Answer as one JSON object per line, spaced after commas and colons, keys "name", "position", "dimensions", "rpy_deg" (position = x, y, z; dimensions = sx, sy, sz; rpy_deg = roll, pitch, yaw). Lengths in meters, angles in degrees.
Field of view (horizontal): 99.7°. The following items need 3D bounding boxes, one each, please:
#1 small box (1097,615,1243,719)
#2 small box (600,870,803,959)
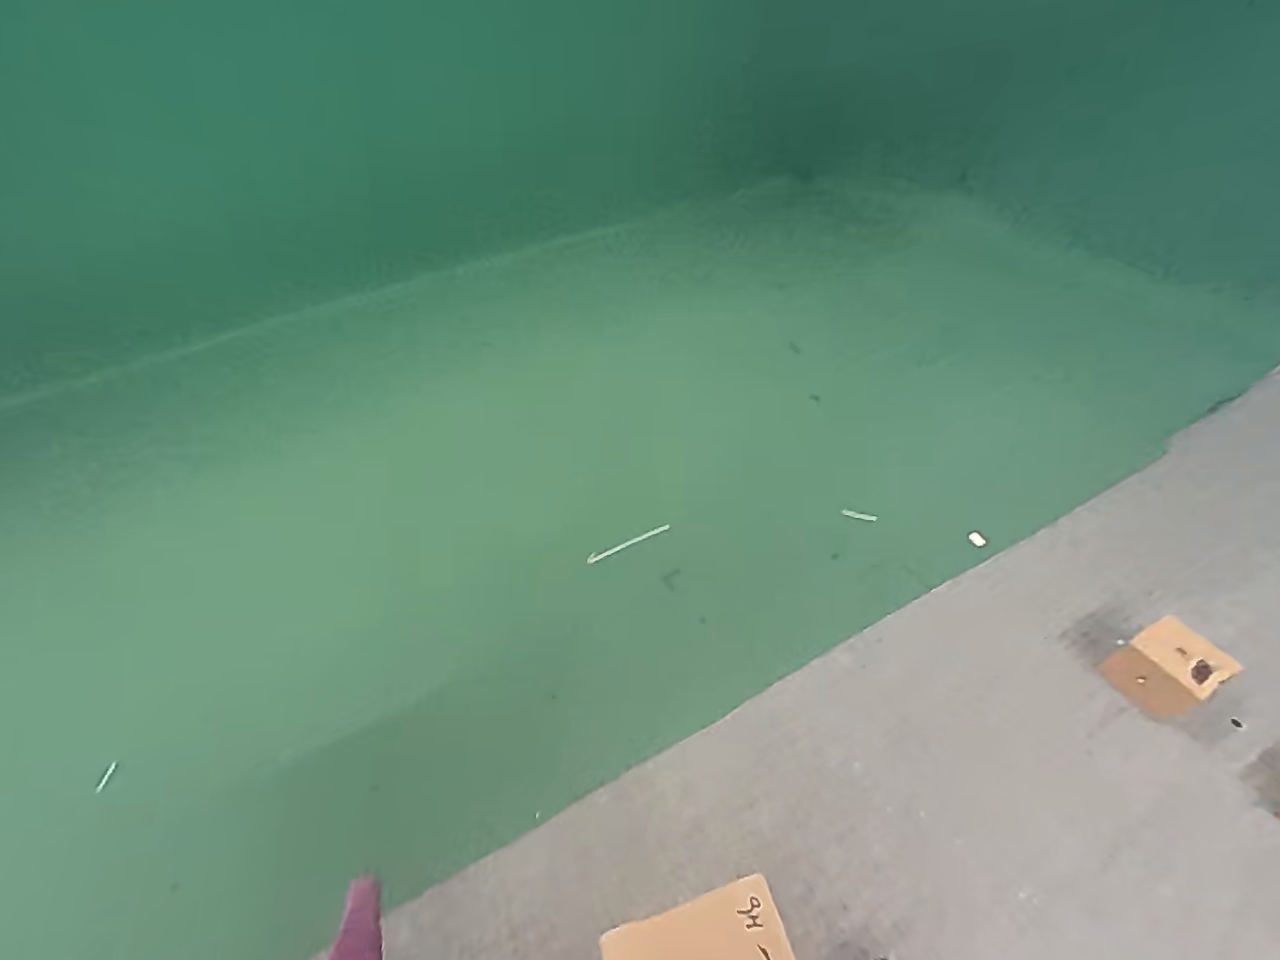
{"name": "small box", "position": [1.357, 0.491, 1.399], "dimensions": [0.168, 0.176, 0.179], "rpy_deg": [-23, 48, -16]}
{"name": "small box", "position": [0.067, 0.514, 0.519], "dimensions": [0.179, 0.176, 0.168], "rpy_deg": [-11, 46, -12]}
